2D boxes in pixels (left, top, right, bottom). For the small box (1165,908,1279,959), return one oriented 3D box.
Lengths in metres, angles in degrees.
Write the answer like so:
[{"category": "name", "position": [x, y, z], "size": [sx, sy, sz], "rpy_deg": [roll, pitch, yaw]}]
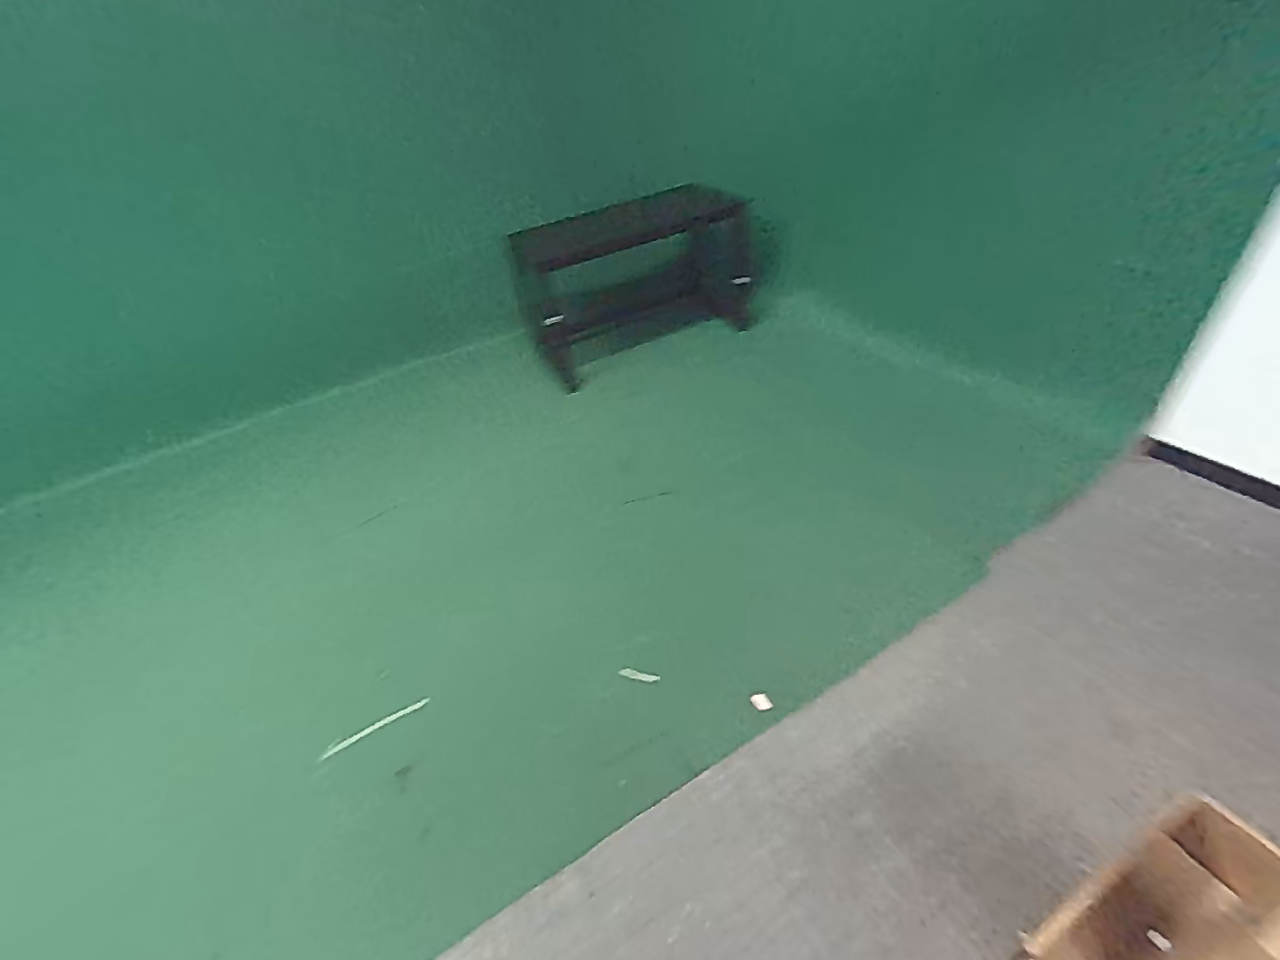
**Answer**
[{"category": "small box", "position": [0.760, 0.670, 0.648], "size": [0.168, 0.176, 0.179], "rpy_deg": [-24, 41, -15]}]
